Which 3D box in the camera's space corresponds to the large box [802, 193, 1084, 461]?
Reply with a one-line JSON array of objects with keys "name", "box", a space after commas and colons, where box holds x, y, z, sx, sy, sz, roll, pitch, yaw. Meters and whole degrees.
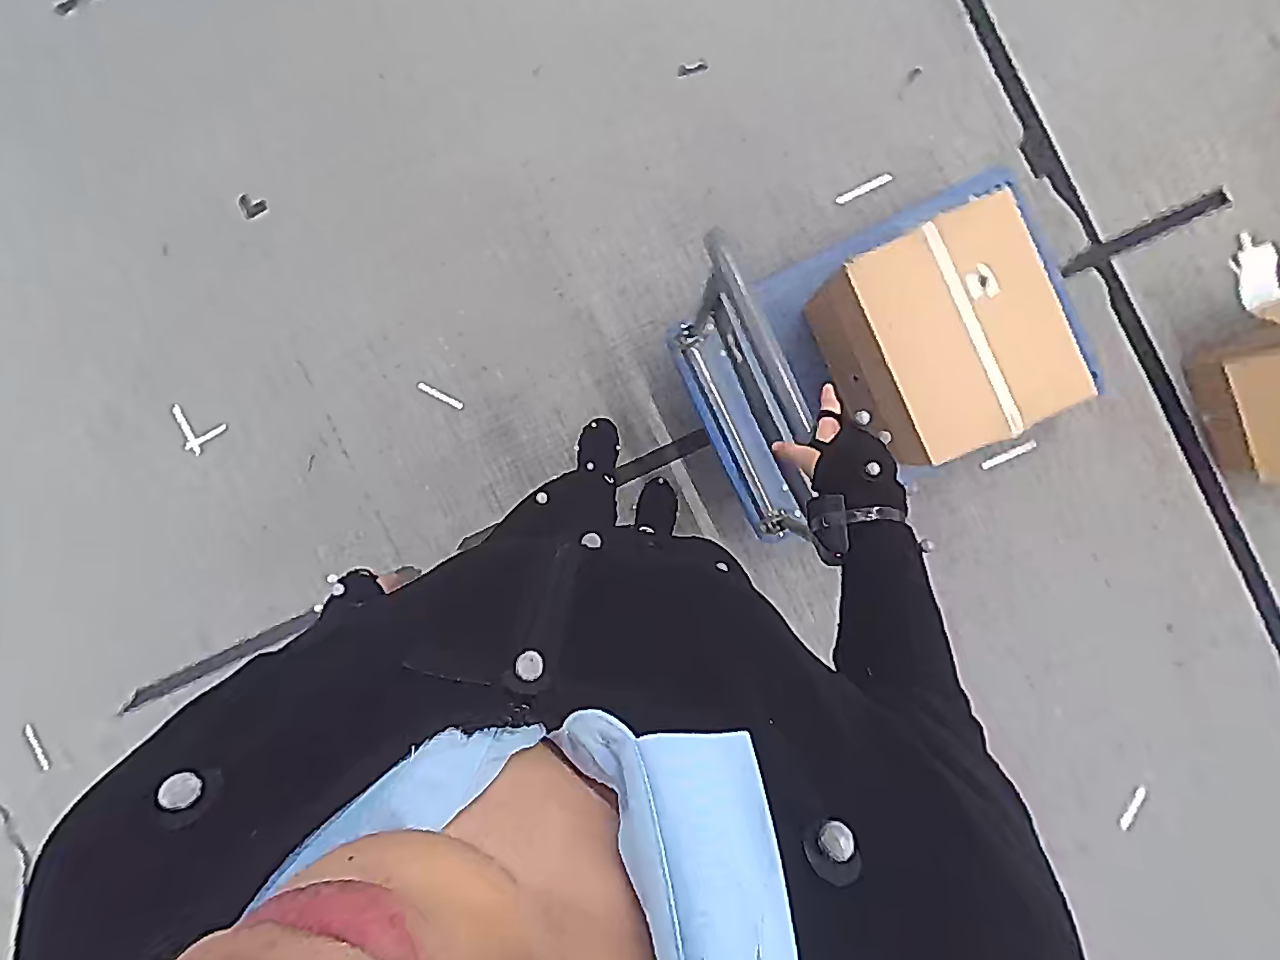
[{"name": "large box", "box": [0.590, -0.282, 1.130, 0.320, 0.320, 0.408, -24, 90, 3]}]
